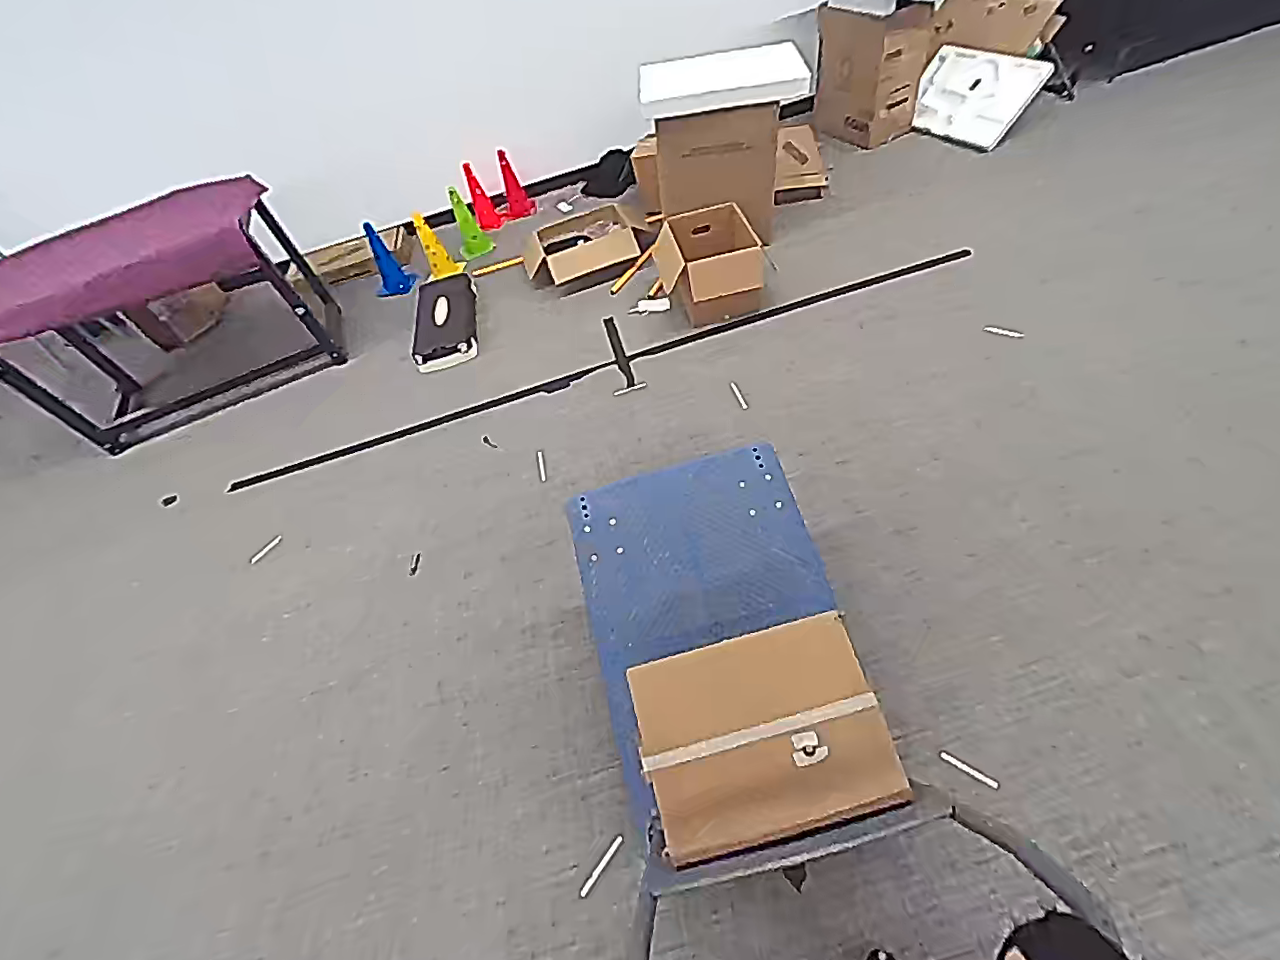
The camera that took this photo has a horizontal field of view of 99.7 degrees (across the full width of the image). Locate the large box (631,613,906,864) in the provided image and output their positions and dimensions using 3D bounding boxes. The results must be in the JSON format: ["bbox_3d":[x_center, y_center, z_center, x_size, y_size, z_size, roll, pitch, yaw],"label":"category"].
[{"bbox_3d":[0.223,0.493,1.076,0.408,0.320,0.320,-16,68,-1],"label":"large box"}]
